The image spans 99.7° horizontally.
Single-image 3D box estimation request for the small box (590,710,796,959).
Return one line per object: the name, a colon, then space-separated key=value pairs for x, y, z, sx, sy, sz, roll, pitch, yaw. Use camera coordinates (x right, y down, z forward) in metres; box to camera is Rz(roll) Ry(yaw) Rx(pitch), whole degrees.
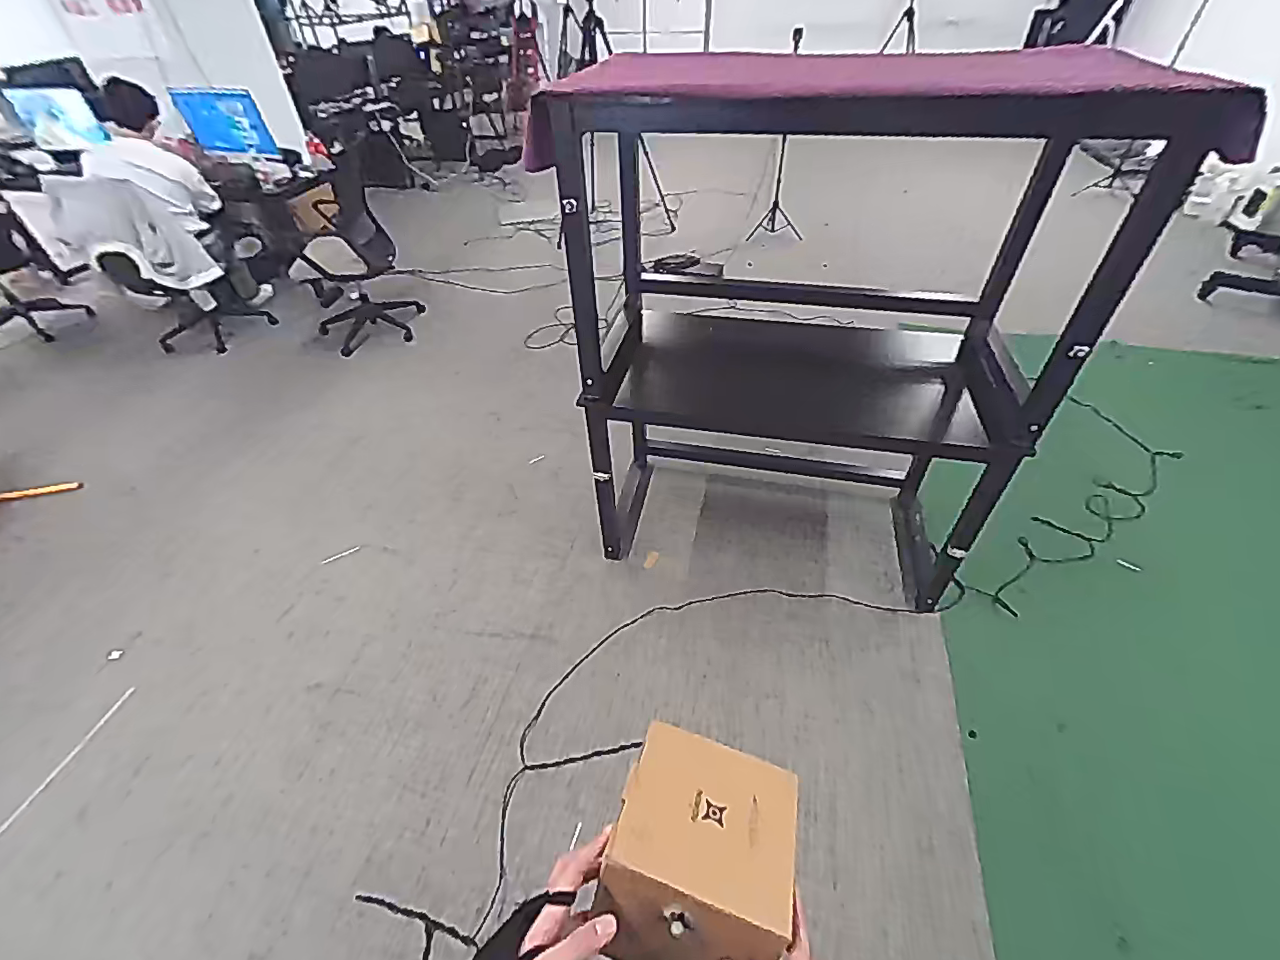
small box: x=0.058 y=0.397 z=0.590 sx=0.179 sy=0.176 sz=0.168 roll=16 pitch=27 yaw=12
